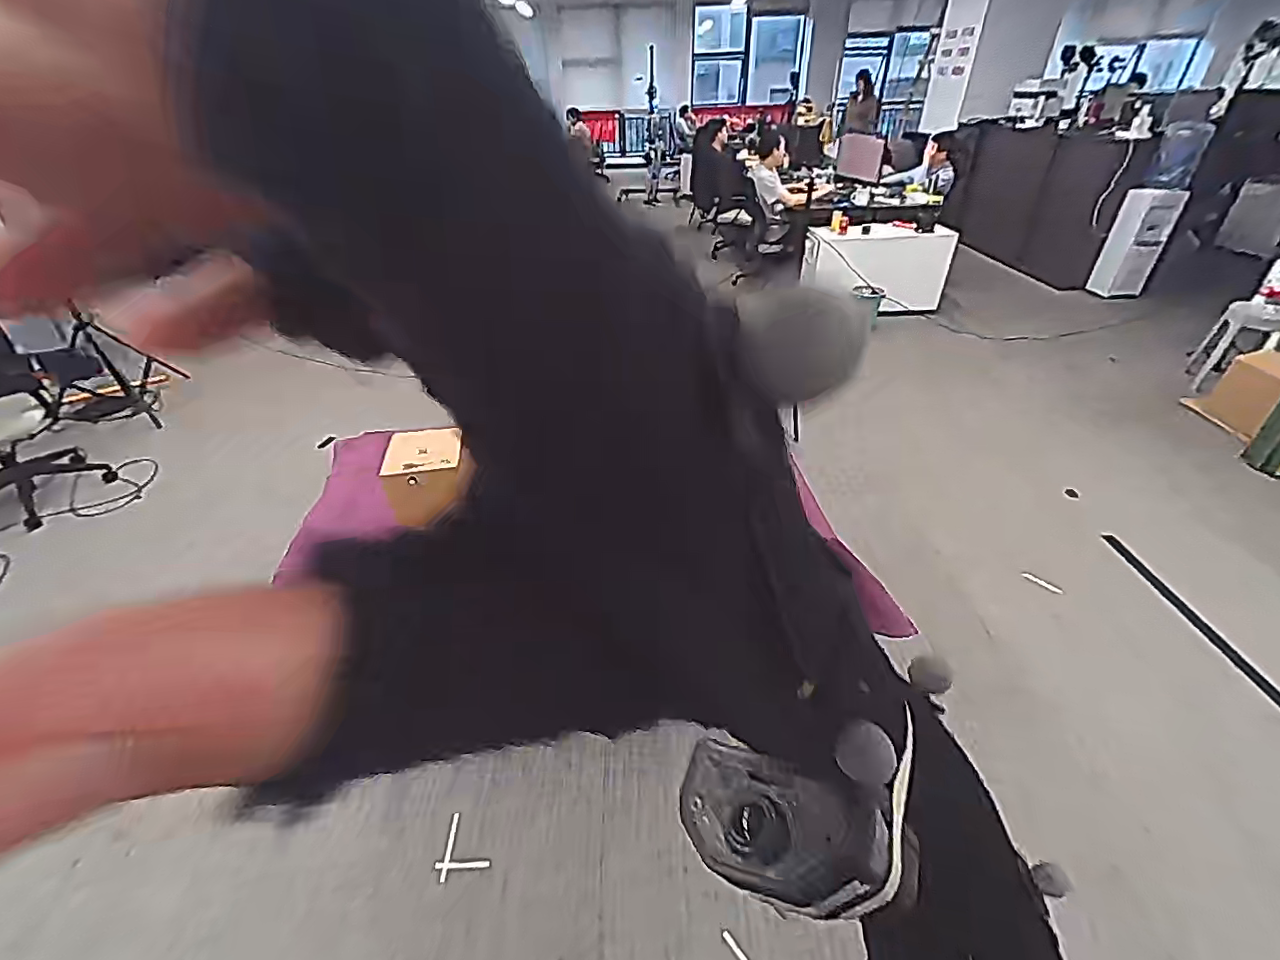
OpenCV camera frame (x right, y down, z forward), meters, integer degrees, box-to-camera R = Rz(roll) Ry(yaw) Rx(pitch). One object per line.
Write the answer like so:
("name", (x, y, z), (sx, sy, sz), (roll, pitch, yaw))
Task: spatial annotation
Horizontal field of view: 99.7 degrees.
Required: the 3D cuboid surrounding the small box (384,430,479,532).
("small box", (-0.481, 0.001, 1.277), (0.168, 0.176, 0.179), (-7, 35, -7))
